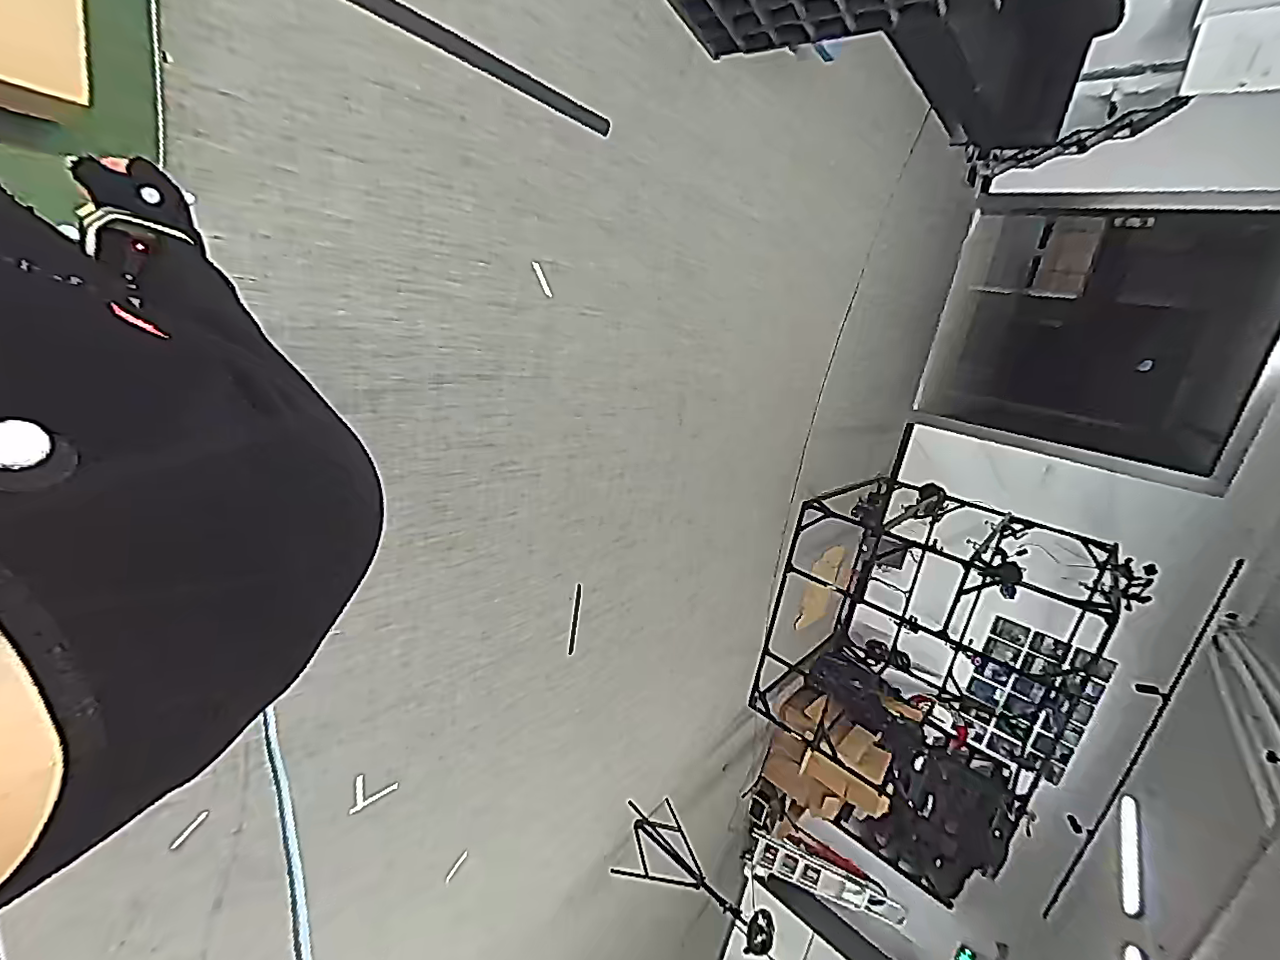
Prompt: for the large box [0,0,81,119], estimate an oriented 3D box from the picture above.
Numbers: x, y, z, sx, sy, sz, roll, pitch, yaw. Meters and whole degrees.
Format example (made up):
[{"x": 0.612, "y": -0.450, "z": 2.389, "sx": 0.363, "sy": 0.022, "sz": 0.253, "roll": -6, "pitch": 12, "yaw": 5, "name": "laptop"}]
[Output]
[{"x": -1.013, "y": -0.701, "z": 0.662, "sx": 0.408, "sy": 0.320, "sz": 0.320, "roll": -10, "pitch": 116, "yaw": -51, "name": "large box"}]
